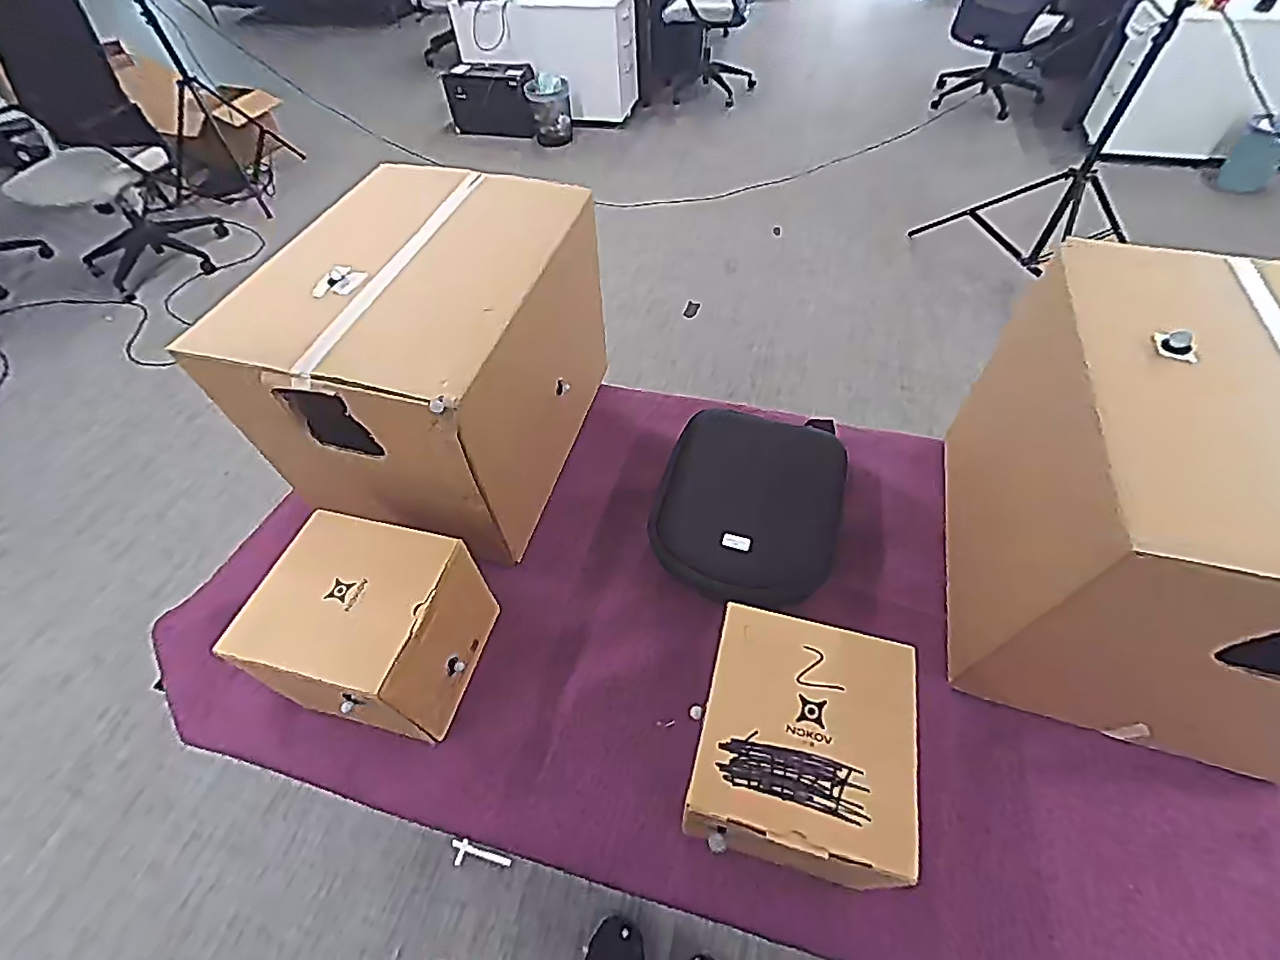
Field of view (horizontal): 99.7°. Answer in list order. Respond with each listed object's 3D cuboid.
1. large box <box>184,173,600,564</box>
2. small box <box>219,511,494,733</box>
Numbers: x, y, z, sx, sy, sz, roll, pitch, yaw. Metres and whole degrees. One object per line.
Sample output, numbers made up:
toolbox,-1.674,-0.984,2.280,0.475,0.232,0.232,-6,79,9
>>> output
large box,-0.259,-0.154,0.743,0.320,0.320,0.408,11,56,10
small box,-0.287,0.159,0.594,0.179,0.176,0.168,10,53,9
